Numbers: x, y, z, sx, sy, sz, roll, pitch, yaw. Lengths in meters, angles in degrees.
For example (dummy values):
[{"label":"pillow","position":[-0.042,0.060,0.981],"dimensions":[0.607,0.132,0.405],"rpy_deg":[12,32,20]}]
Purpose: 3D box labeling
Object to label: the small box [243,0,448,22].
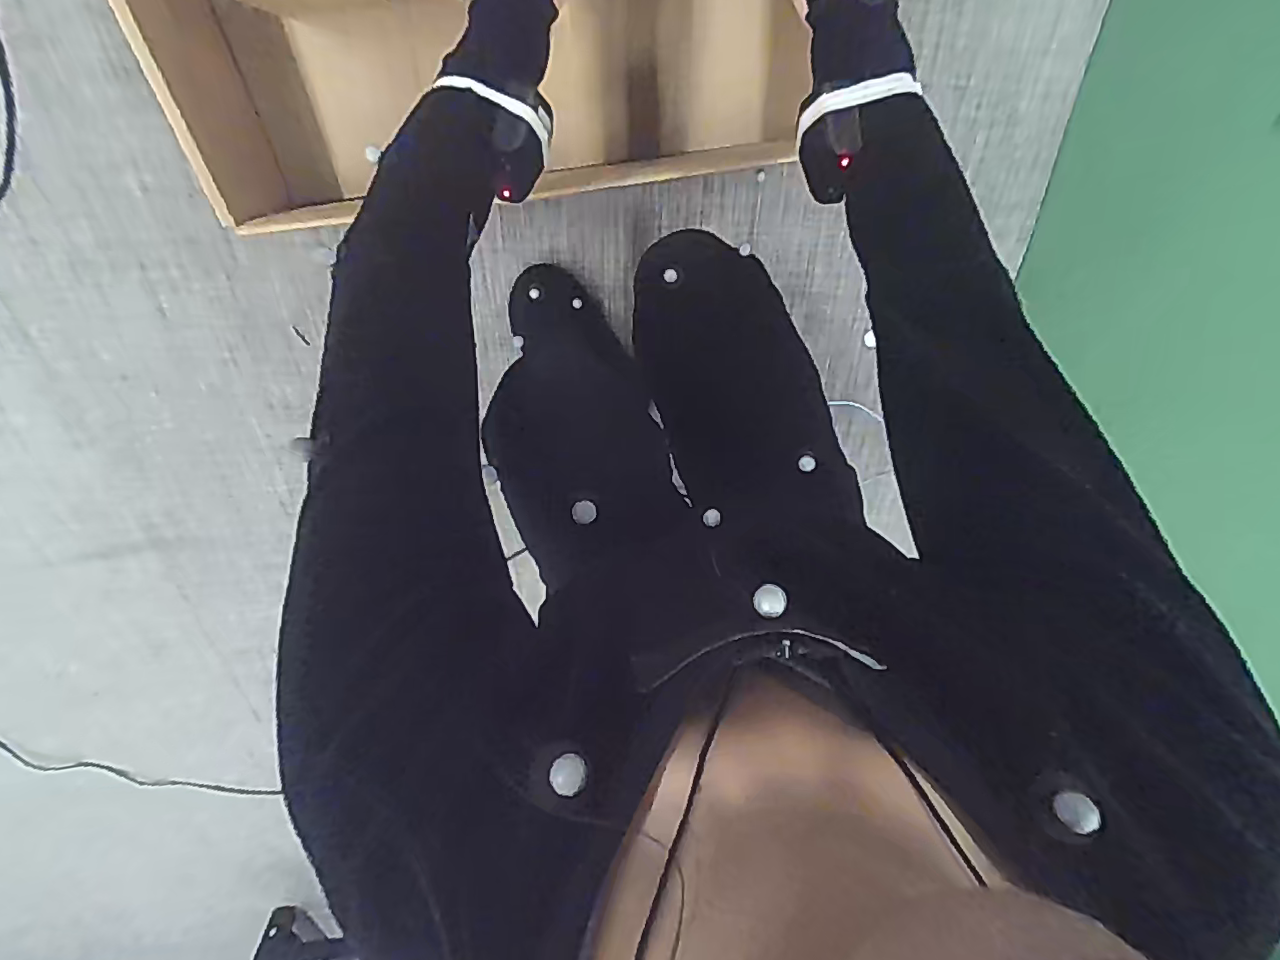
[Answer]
[{"label":"small box","position":[-0.260,-0.477,0.416],"dimensions":[0.179,0.176,0.168],"rpy_deg":[-8,124,-2]}]
